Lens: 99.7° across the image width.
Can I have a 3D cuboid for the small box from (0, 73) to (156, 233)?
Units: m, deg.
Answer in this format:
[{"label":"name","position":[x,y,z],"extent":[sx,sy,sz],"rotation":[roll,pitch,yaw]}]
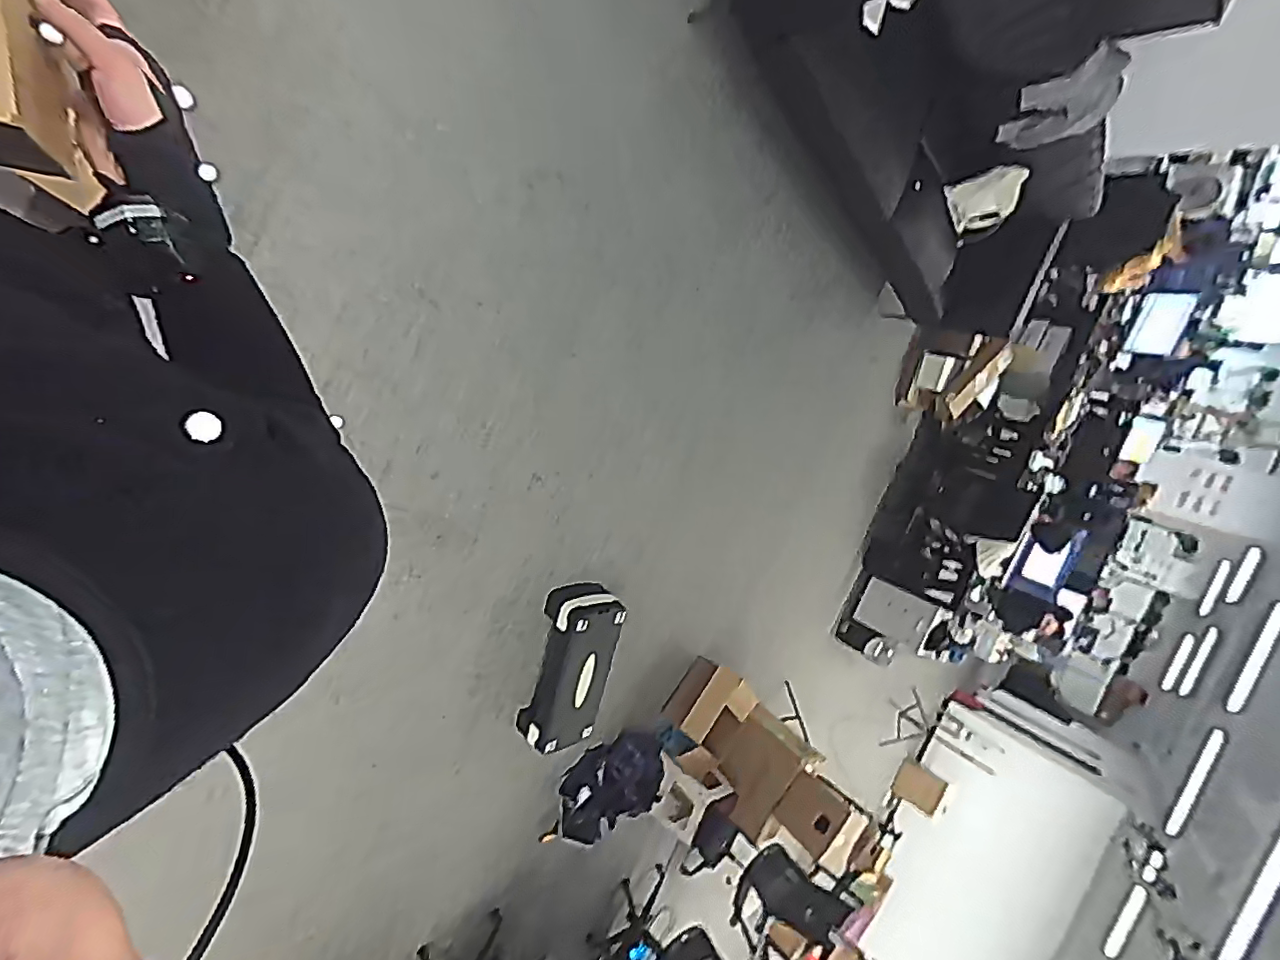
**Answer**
[{"label":"small box","position":[-1.017,-0.572,0.965],"extent":[0.168,0.176,0.179],"rotation":[38,81,-46]}]
